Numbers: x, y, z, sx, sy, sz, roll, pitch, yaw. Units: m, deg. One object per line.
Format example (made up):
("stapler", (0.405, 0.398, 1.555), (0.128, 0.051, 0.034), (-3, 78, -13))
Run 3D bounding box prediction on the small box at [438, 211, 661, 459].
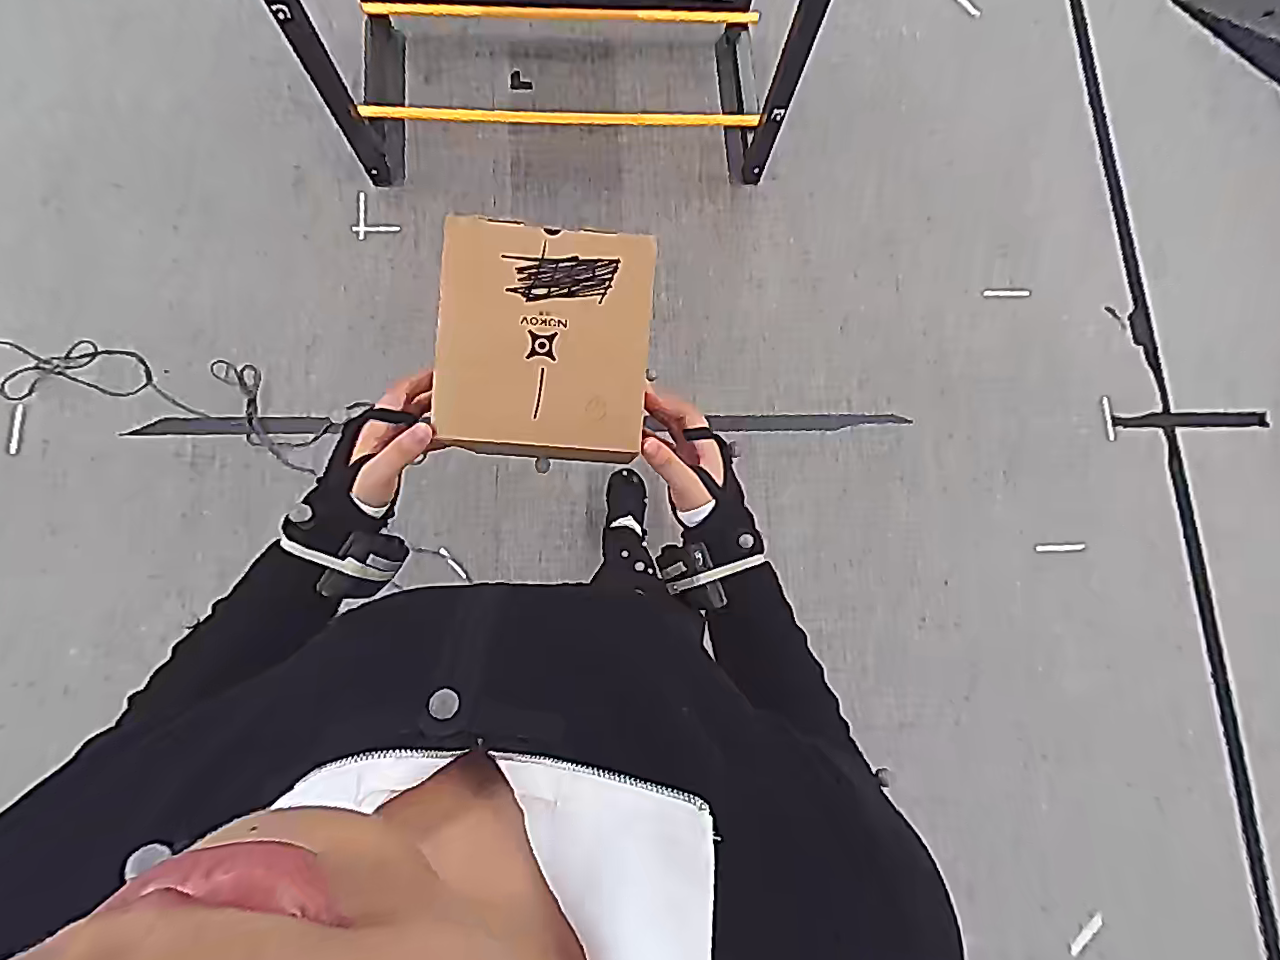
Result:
("small box", (-0.076, -0.117, 0.506), (0.168, 0.176, 0.179), (4, 88, -4))
